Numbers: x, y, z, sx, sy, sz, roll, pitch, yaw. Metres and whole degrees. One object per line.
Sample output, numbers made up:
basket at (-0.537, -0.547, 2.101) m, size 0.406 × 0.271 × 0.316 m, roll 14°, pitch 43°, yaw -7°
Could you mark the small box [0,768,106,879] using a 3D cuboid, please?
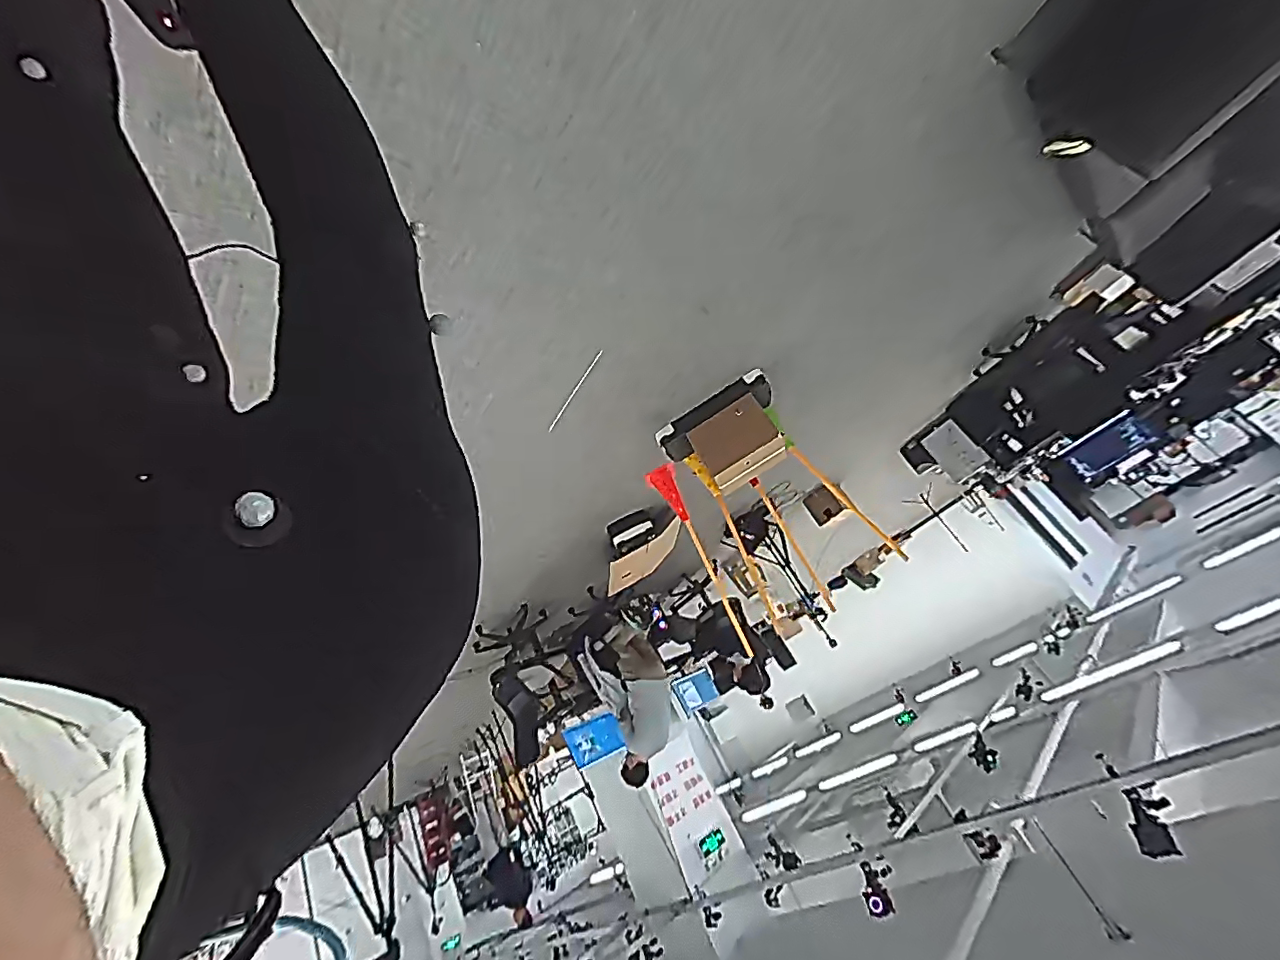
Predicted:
small box at (-1.540, 0.892, 1.418) m, size 0.168 × 0.176 × 0.179 m, roll -44°, pitch 152°, yaw 28°
